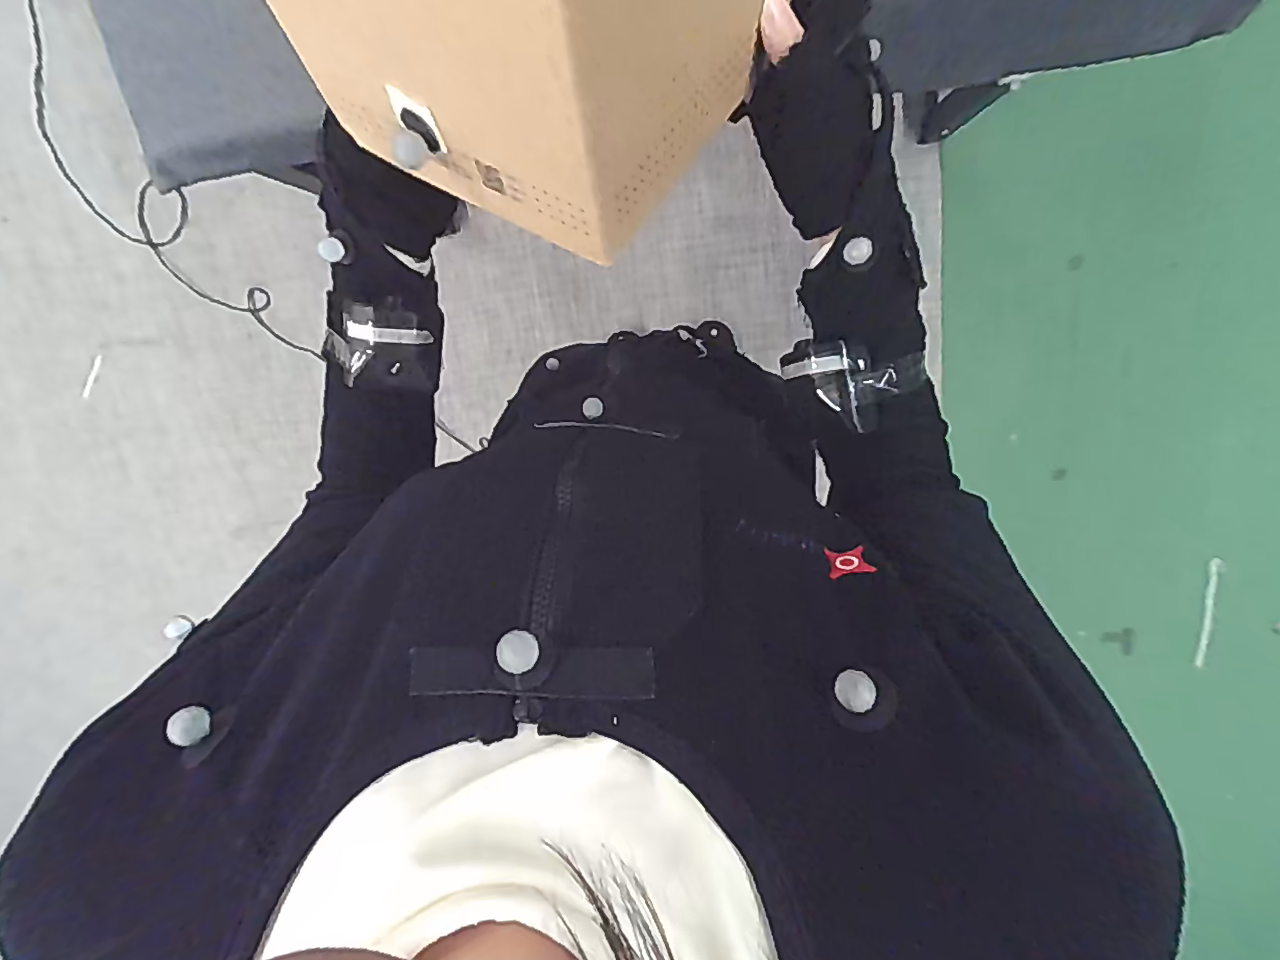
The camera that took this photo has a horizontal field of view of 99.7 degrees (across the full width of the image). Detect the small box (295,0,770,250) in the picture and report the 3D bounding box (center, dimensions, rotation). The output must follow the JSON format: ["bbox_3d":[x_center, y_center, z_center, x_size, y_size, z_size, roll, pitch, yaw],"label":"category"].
[{"bbox_3d":[-0.043,-0.240,0.224,0.168,0.176,0.179,29,76,14],"label":"small box"}]
